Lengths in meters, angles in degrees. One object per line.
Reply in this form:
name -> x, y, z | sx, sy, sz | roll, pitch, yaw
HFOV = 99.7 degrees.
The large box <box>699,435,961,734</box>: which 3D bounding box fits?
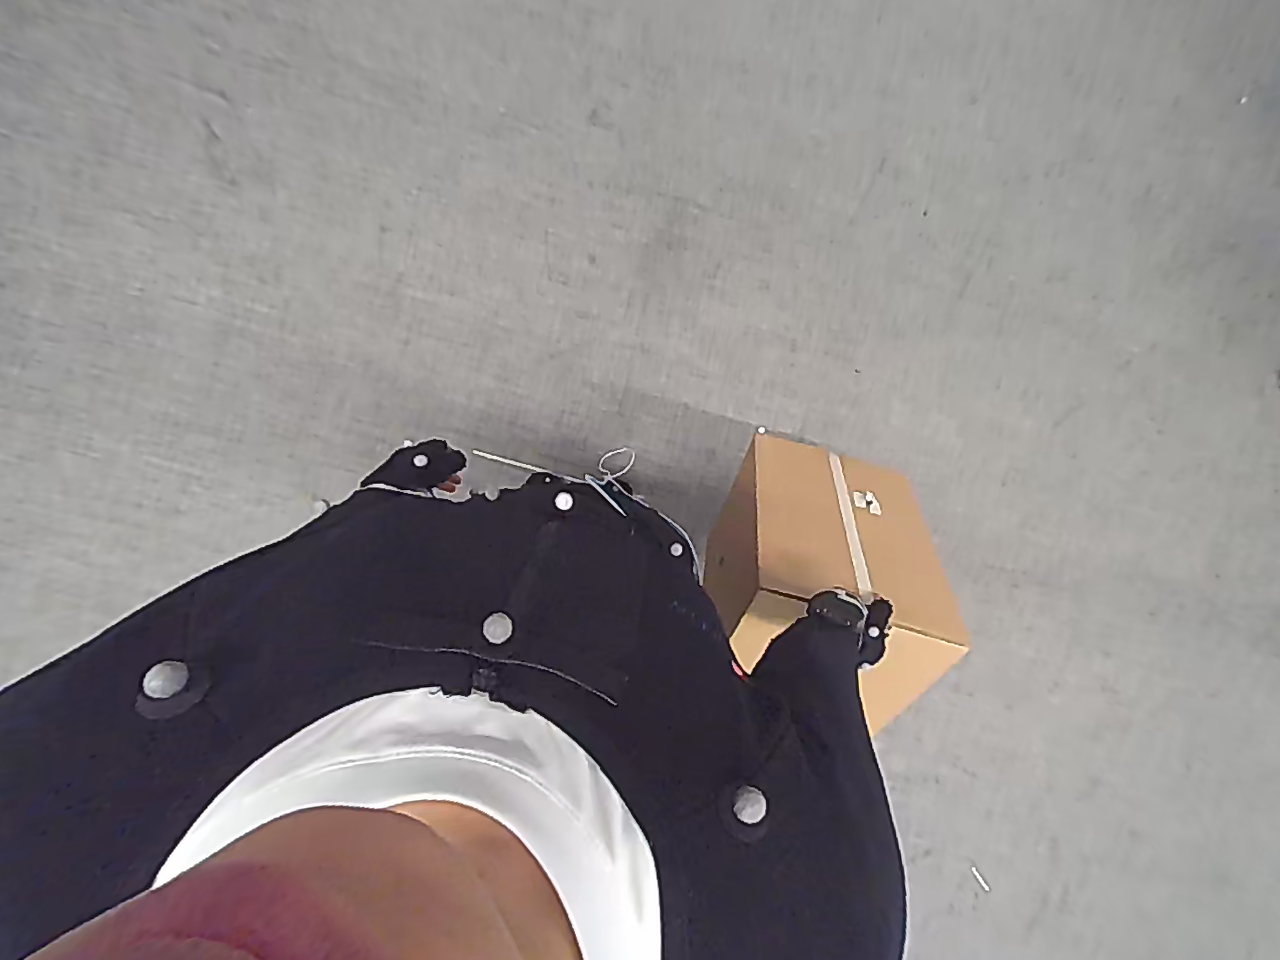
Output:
large box -> 0.306, 0.183, 1.007 | 0.320, 0.408, 0.320 | 17, 128, -2
